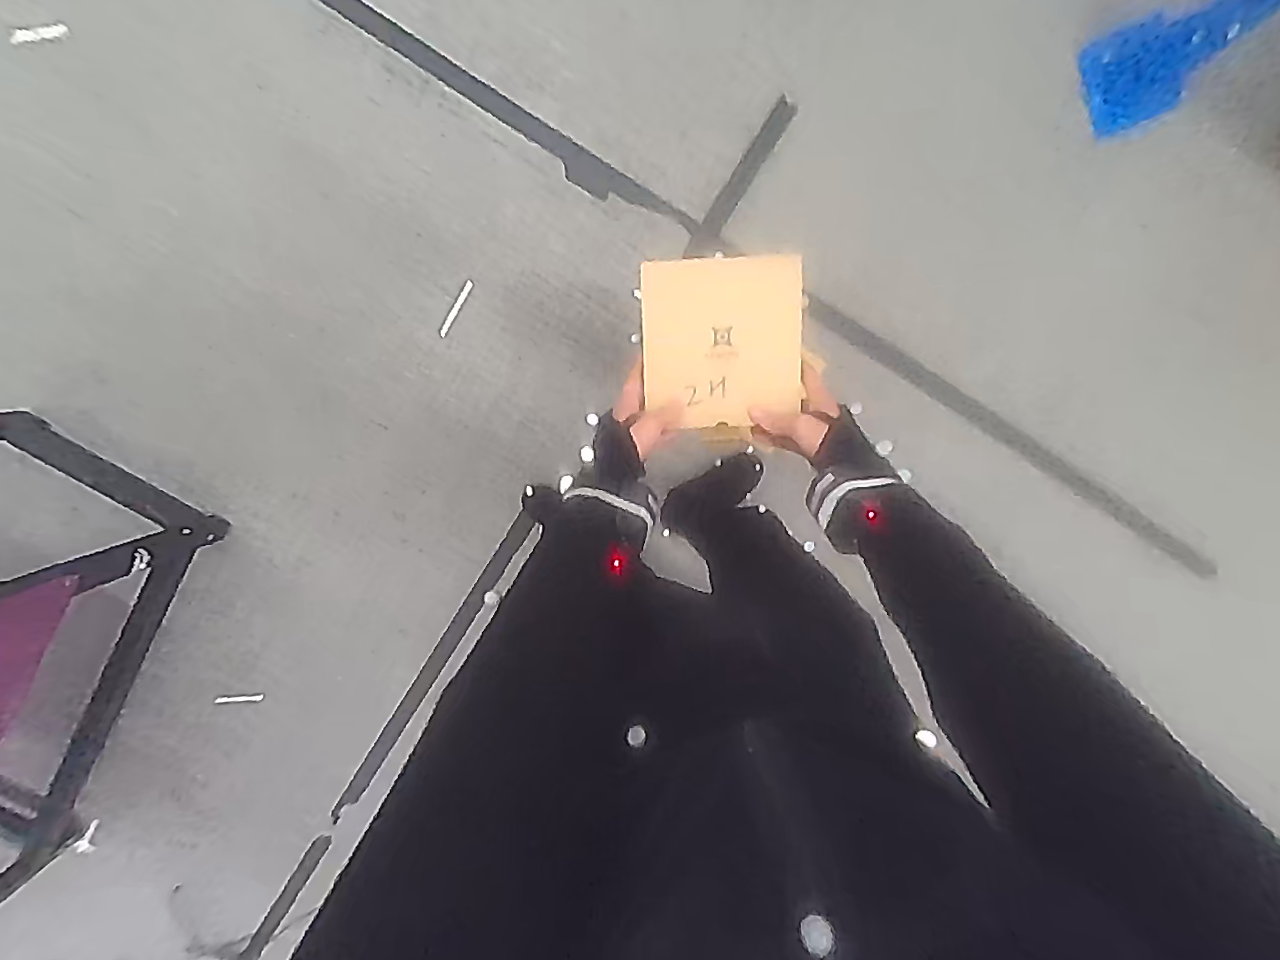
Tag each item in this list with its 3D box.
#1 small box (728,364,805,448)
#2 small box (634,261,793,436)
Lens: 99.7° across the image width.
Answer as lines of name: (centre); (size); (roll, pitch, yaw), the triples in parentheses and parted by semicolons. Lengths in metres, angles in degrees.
small box: (0.199, -0.192, 1.107); (0.168, 0.176, 0.179); (35, 100, -6)
small box: (0.082, -0.155, 0.648); (0.168, 0.176, 0.179); (-2, 106, 5)
